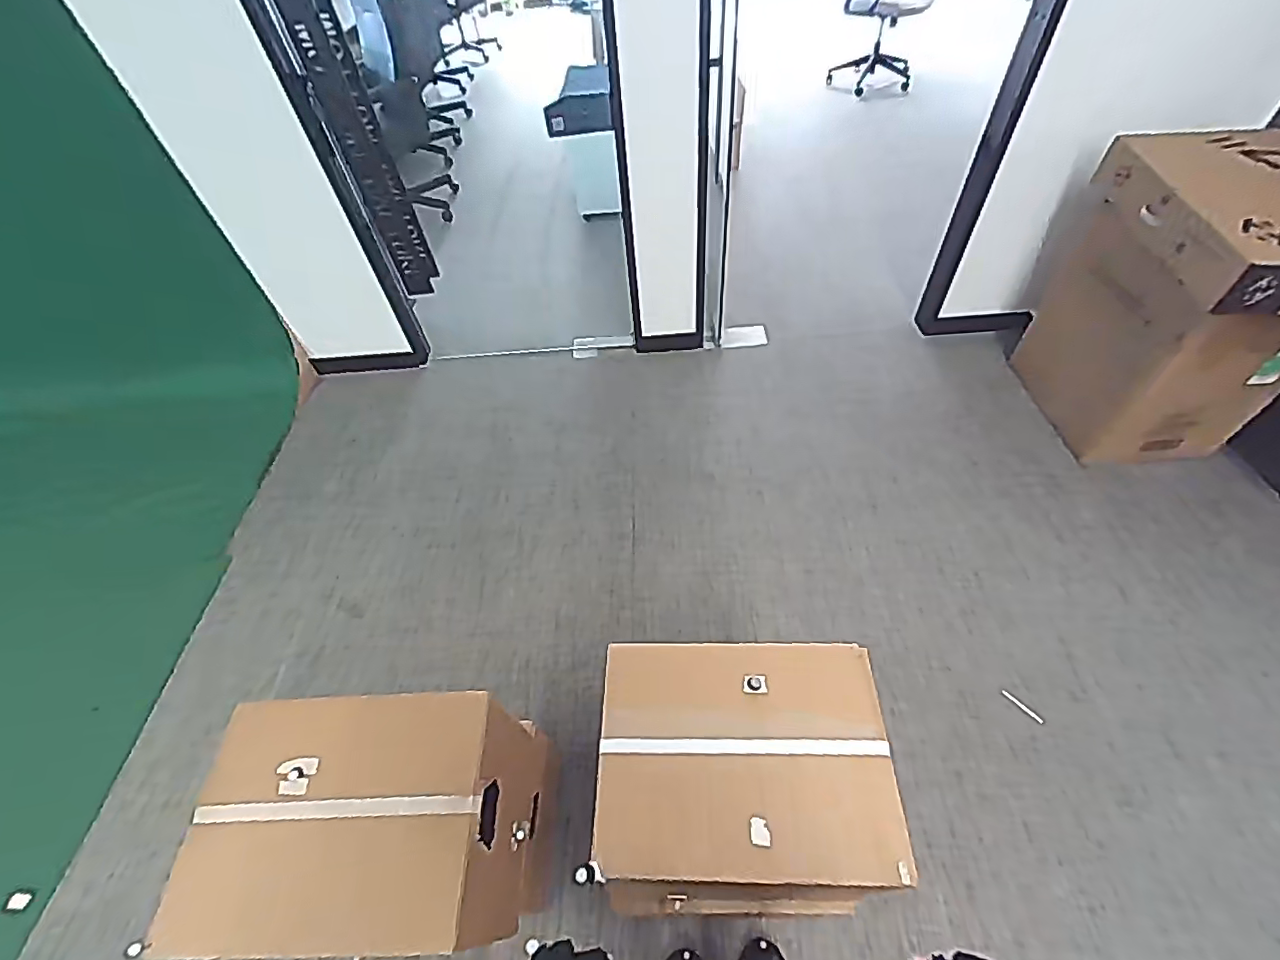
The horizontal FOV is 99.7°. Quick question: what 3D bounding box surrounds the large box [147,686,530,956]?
[{"bbox_3d":[-0.418,0.544,0.879,0.408,0.320,0.320,-4,53,3],"label":"large box"}]
